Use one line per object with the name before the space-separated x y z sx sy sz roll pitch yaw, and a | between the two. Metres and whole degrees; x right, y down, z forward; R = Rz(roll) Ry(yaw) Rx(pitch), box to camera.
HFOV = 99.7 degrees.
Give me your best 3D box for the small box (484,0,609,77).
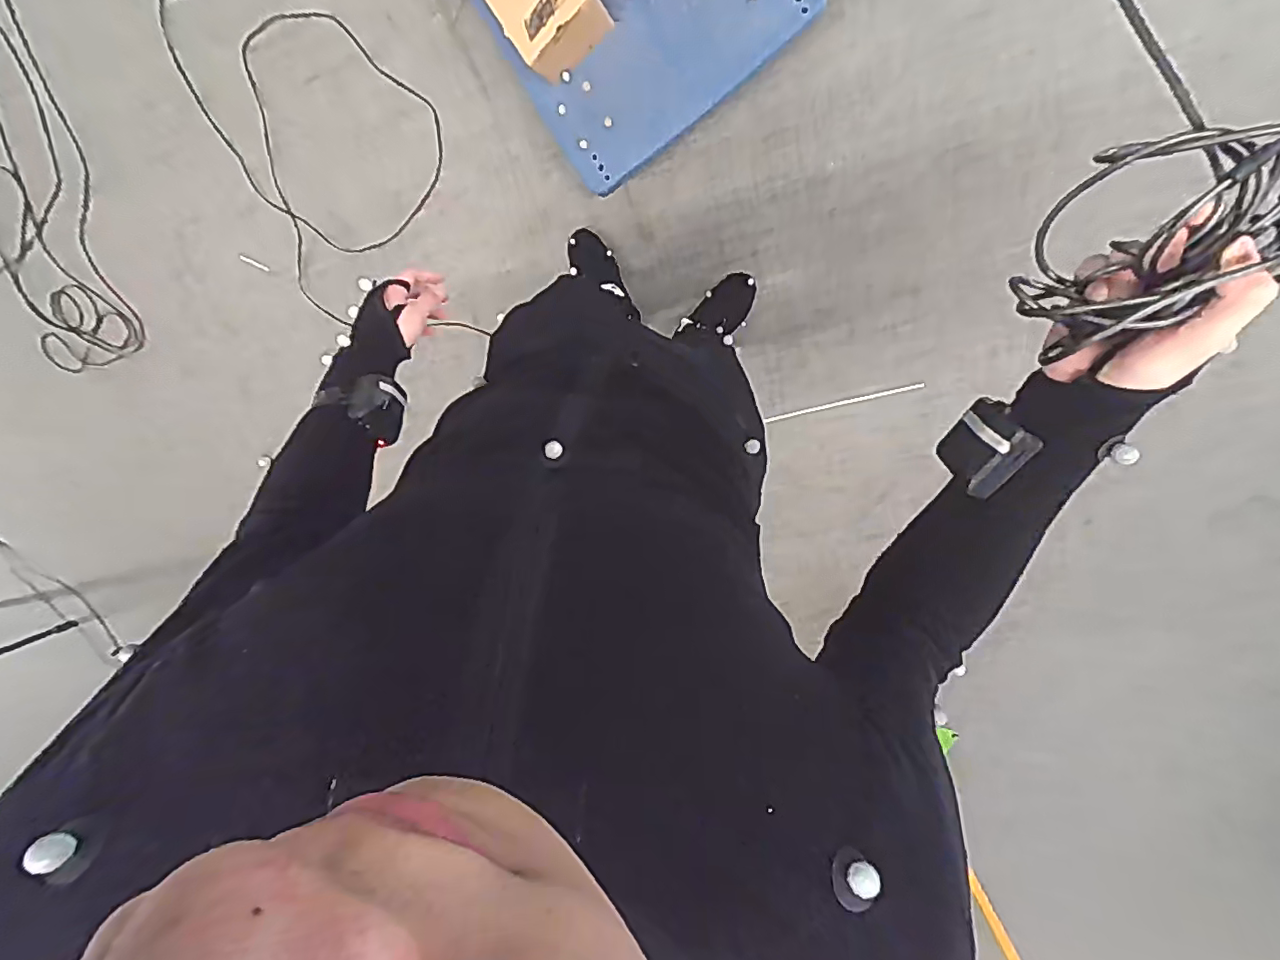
small box | -0.182 -0.905 1.018 0.168 0.176 0.179 -31 105 22
